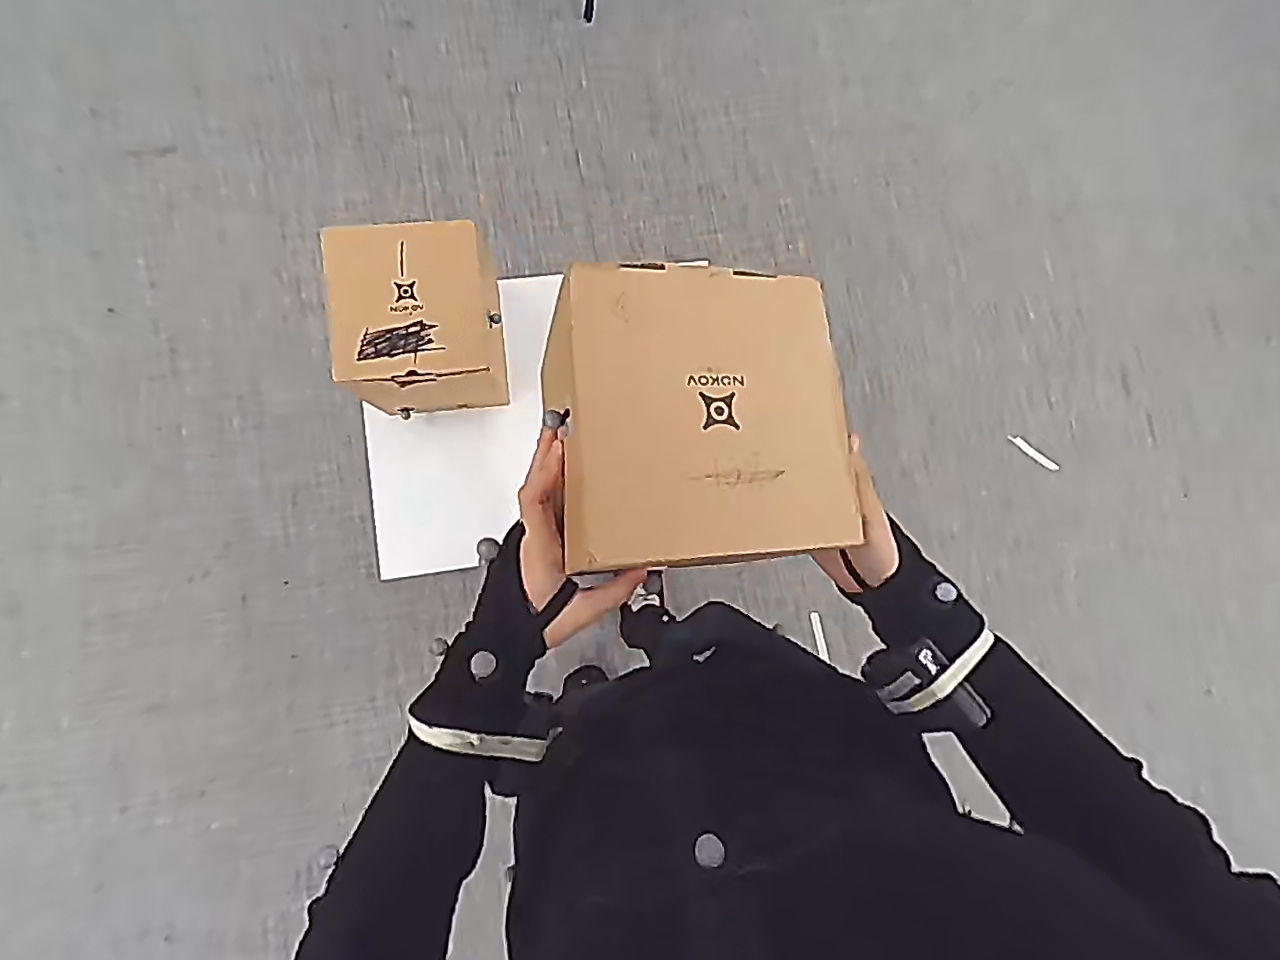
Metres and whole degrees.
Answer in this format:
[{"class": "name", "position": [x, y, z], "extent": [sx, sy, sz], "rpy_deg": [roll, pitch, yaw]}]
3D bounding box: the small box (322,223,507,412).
[{"class": "small box", "position": [-0.262, -0.186, 0.665], "extent": [0.168, 0.176, 0.179], "rpy_deg": [-6, 85, -7]}]

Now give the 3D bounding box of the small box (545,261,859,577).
[{"class": "small box", "position": [0.024, -0.027, 0.390], "extent": [0.168, 0.176, 0.179], "rpy_deg": [-2, 79, -15]}]
